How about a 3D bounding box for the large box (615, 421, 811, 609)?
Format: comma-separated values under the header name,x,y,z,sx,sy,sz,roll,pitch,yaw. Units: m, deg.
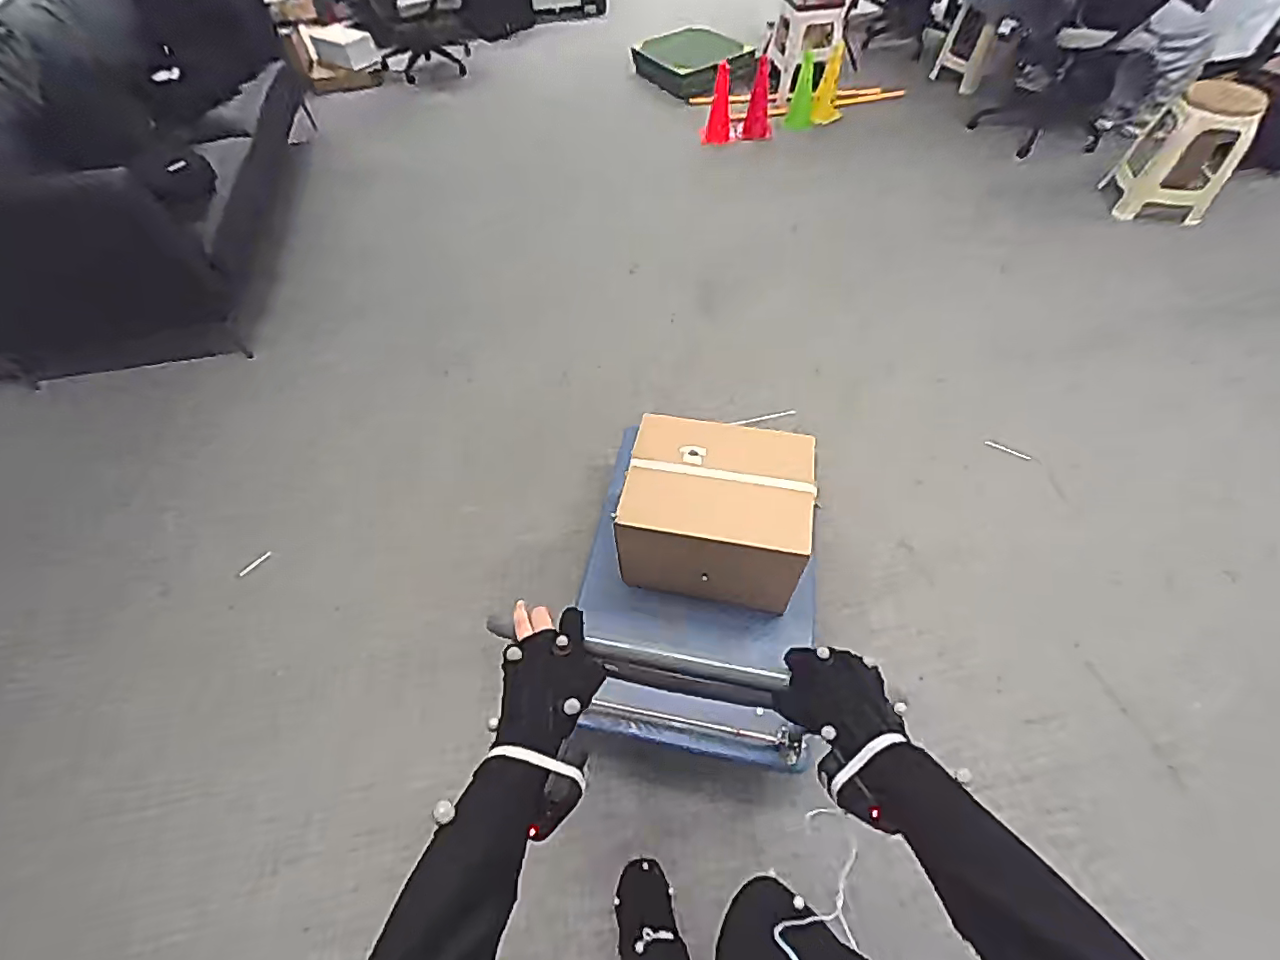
name,x,y,z,sx,sy,sz,roll,pitch,yaw
large box,0.180,0.089,1.311,0.408,0.320,0.320,8,55,10
